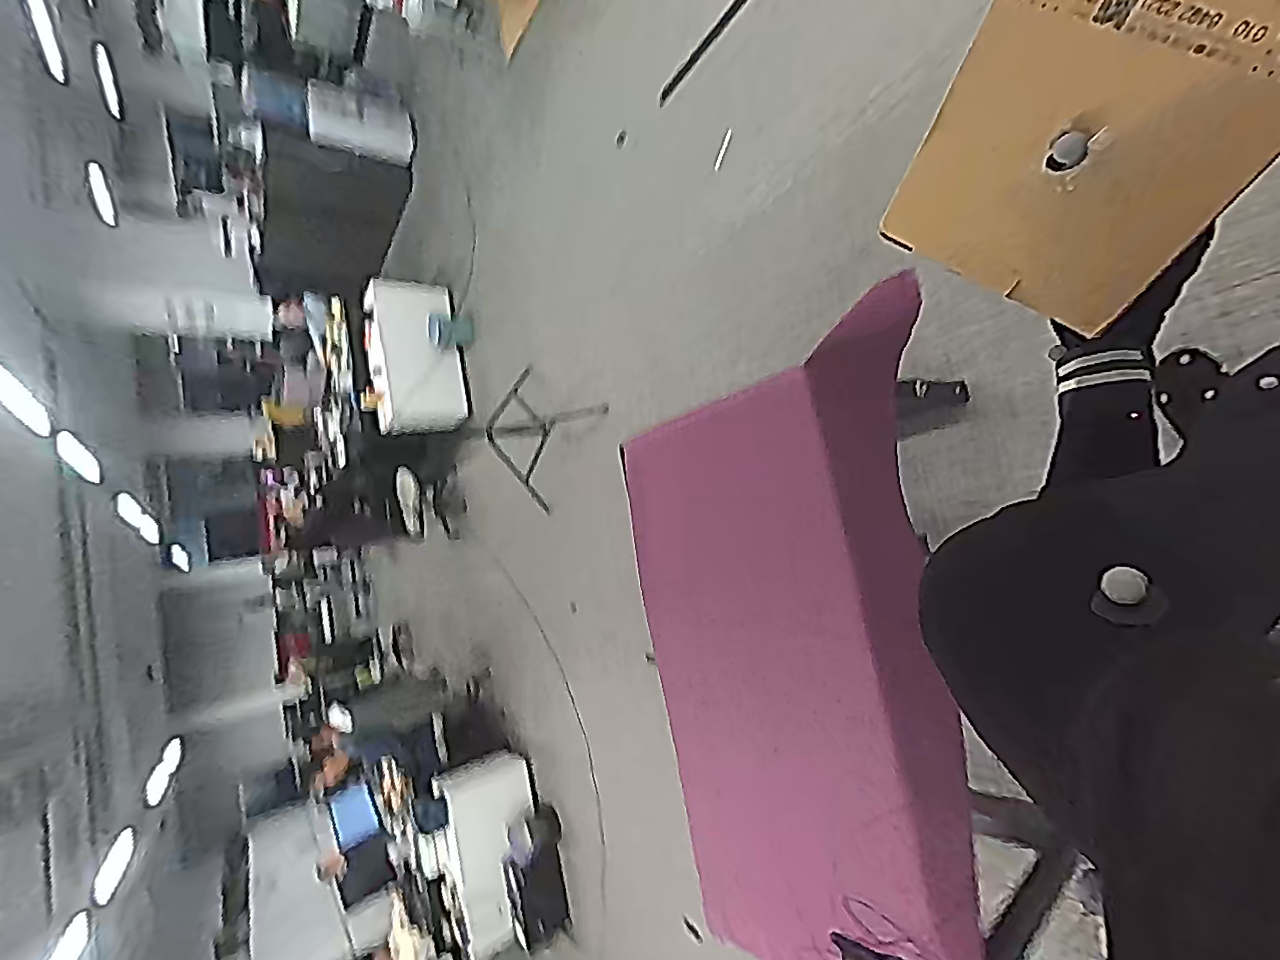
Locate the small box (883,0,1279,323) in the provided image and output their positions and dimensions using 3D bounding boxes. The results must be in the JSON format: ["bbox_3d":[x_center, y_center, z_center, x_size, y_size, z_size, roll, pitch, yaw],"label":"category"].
[{"bbox_3d":[0.299,-0.237,0.342,0.168,0.179,0.176,41,147,19],"label":"small box"}]
